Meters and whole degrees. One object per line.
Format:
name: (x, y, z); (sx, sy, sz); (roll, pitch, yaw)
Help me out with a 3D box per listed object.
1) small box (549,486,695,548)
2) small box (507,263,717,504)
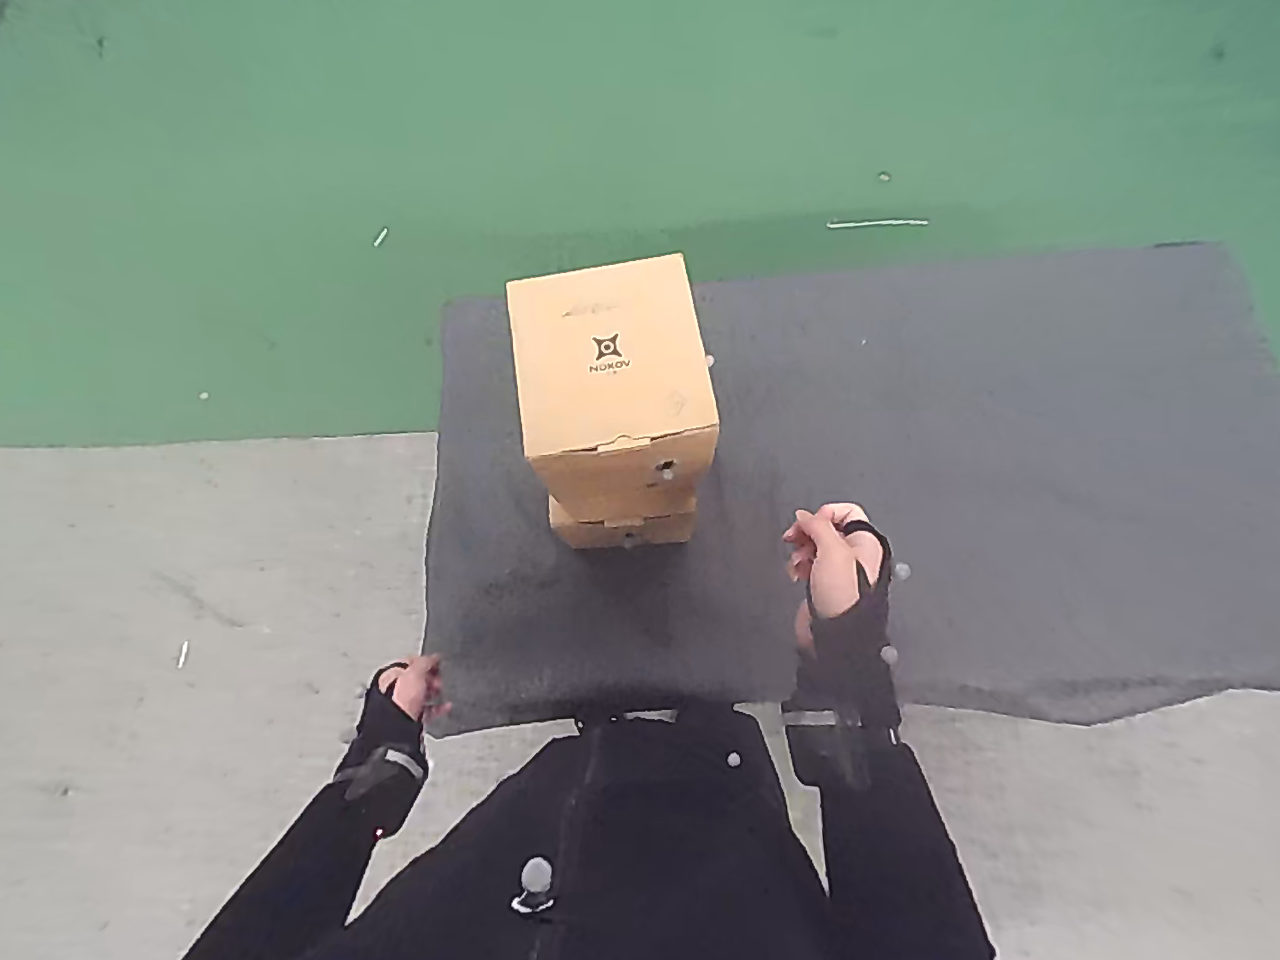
small box: (-0.020, -0.009, 0.694); (0.168, 0.176, 0.179); (-4, 74, 0)
small box: (-0.025, -0.081, 0.546); (0.168, 0.176, 0.179); (-10, 73, -2)
